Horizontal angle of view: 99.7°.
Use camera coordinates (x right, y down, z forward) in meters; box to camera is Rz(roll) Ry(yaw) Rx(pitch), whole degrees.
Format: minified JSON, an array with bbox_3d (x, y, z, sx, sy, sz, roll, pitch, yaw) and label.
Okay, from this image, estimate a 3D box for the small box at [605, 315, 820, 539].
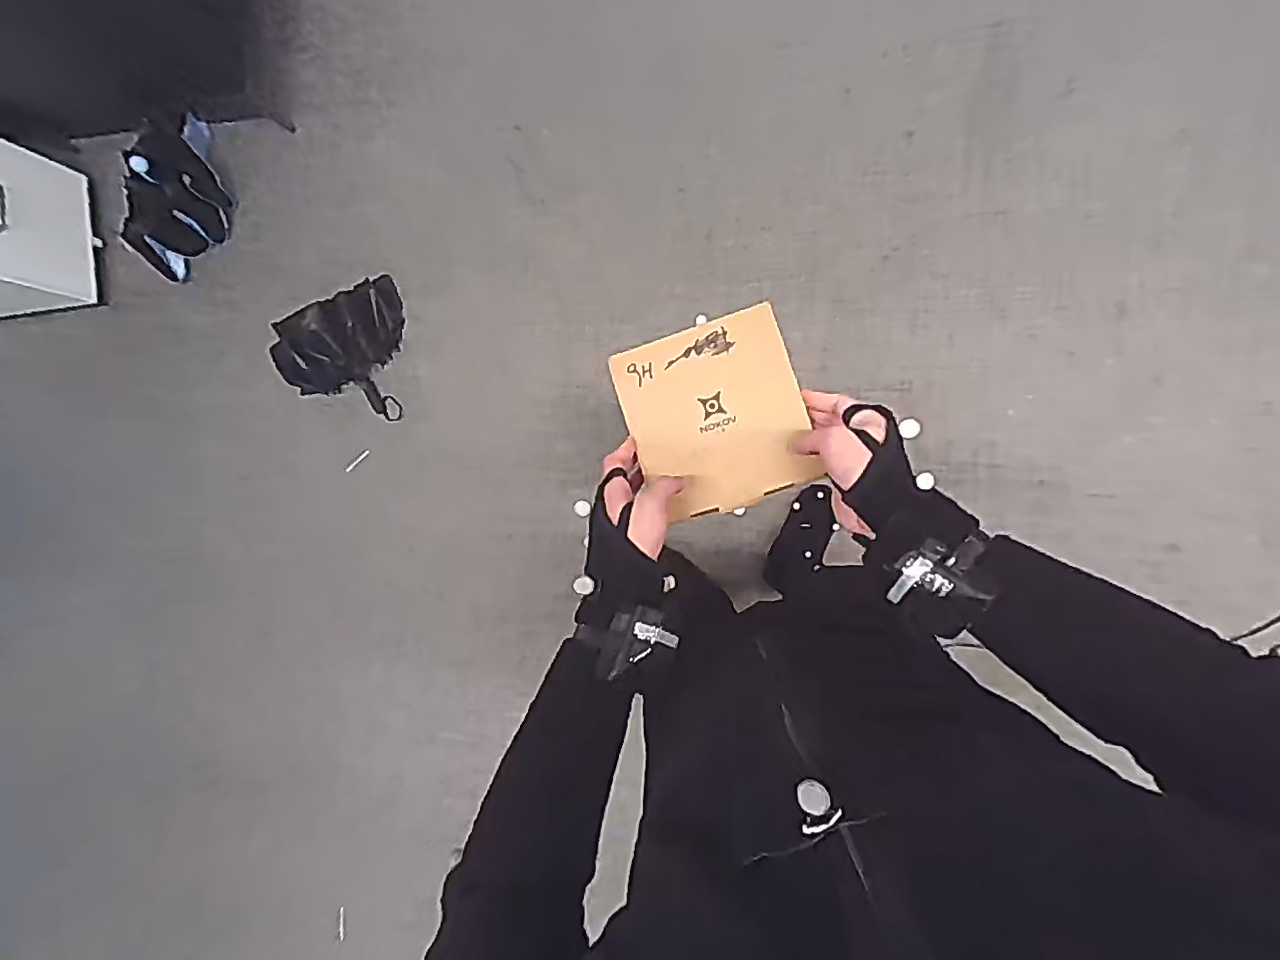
[{"bbox_3d":[0.078,-0.050,0.588,0.168,0.176,0.179,-18,87,8],"label":"small box"}]
